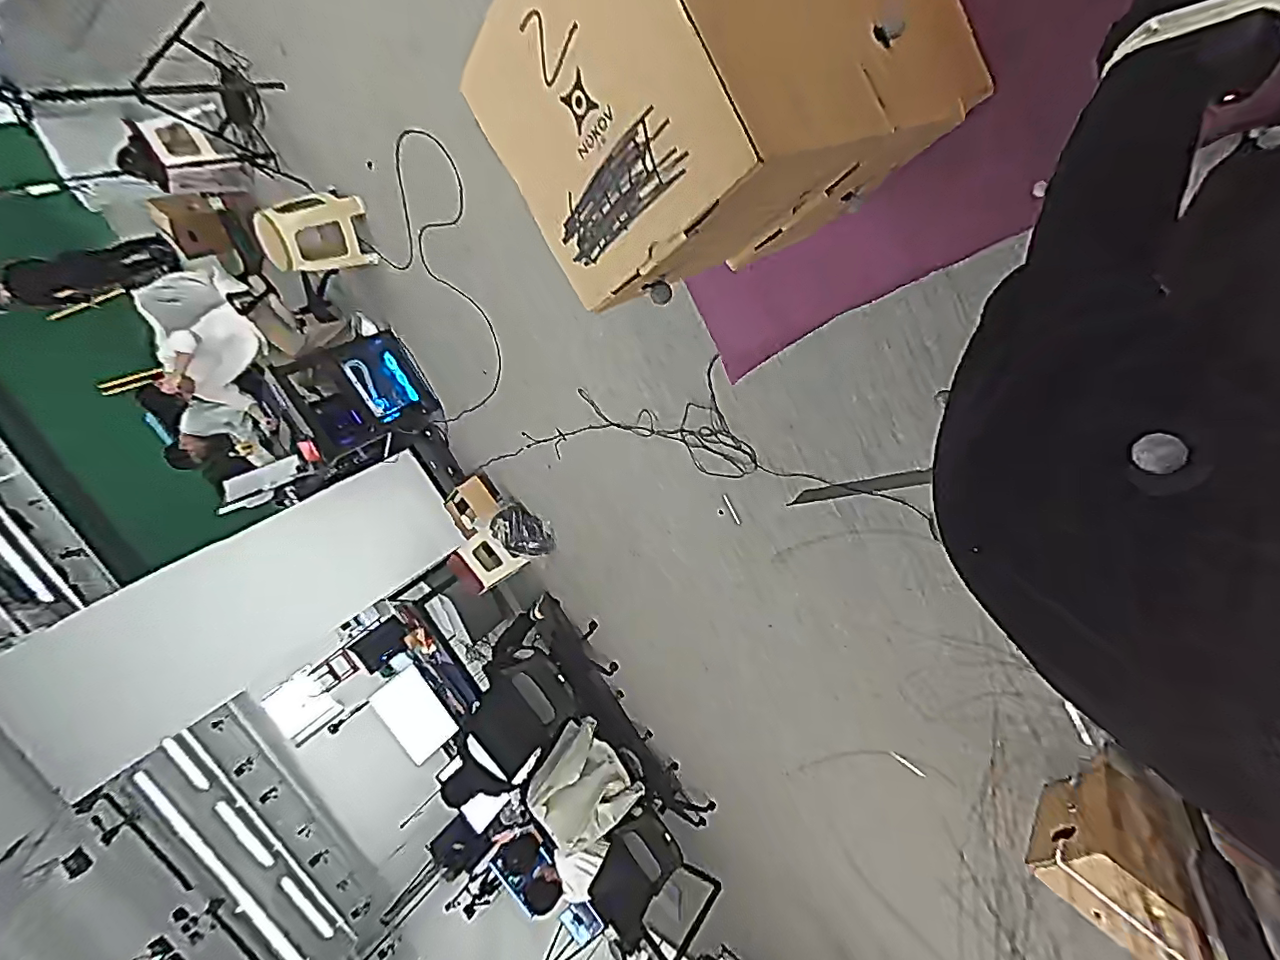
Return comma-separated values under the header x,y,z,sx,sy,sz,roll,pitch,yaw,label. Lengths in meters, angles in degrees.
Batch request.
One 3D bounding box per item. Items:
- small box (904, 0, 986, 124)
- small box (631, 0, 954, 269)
x,y,z,sx,sy,sz,roll,pitch,yaw,label
0.224,-0.419,0.559,0.168,0.176,0.179,-17,106,52,small box
0.133,-0.320,0.463,0.168,0.176,0.179,-25,101,53,small box
